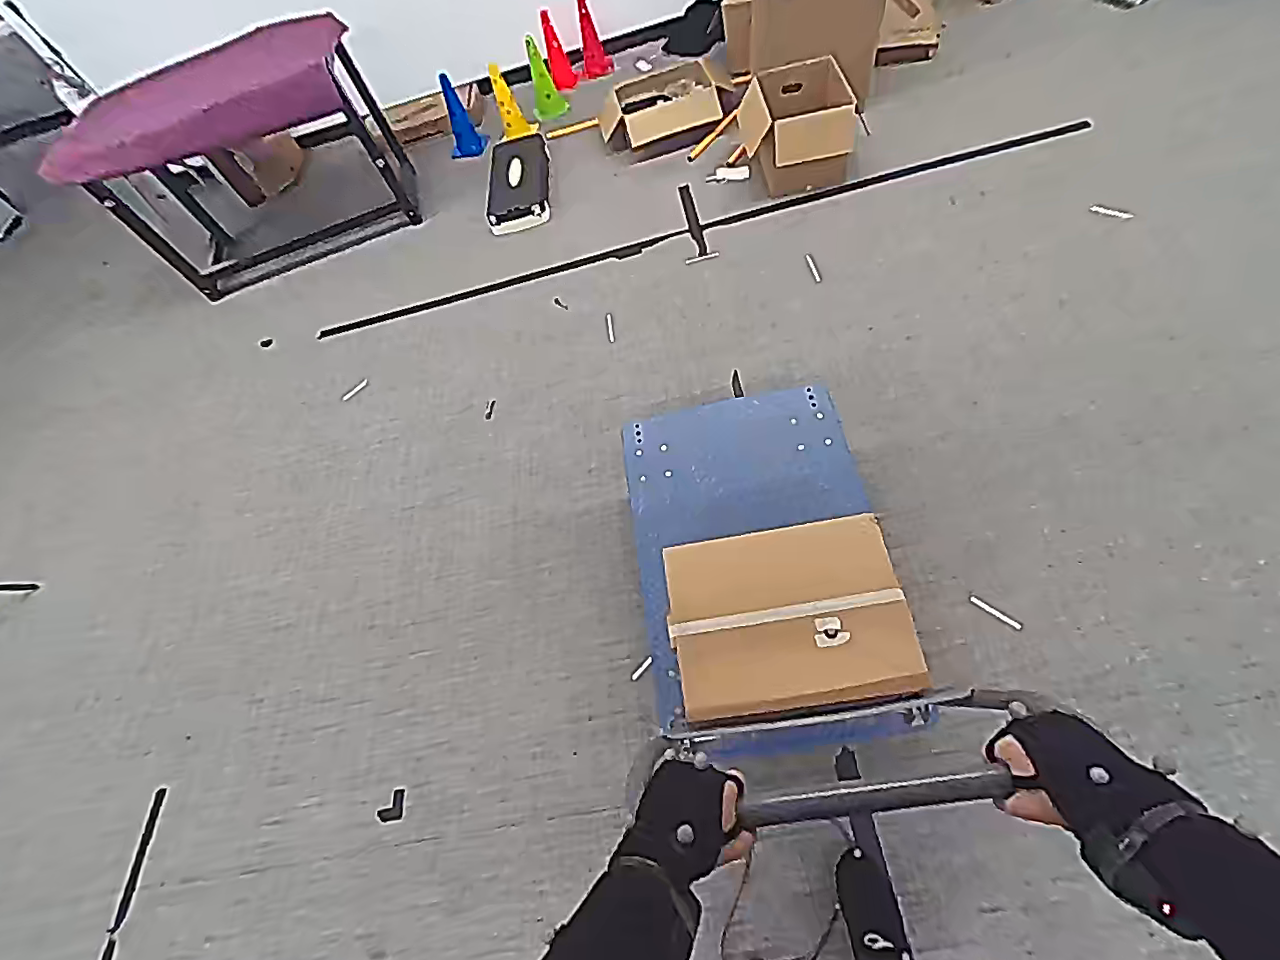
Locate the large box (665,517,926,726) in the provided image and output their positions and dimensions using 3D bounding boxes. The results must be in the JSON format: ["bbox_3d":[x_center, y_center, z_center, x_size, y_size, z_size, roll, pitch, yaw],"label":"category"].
[{"bbox_3d":[0.285,0.306,1.109,0.408,0.320,0.320,-11,64,5],"label":"large box"}]
